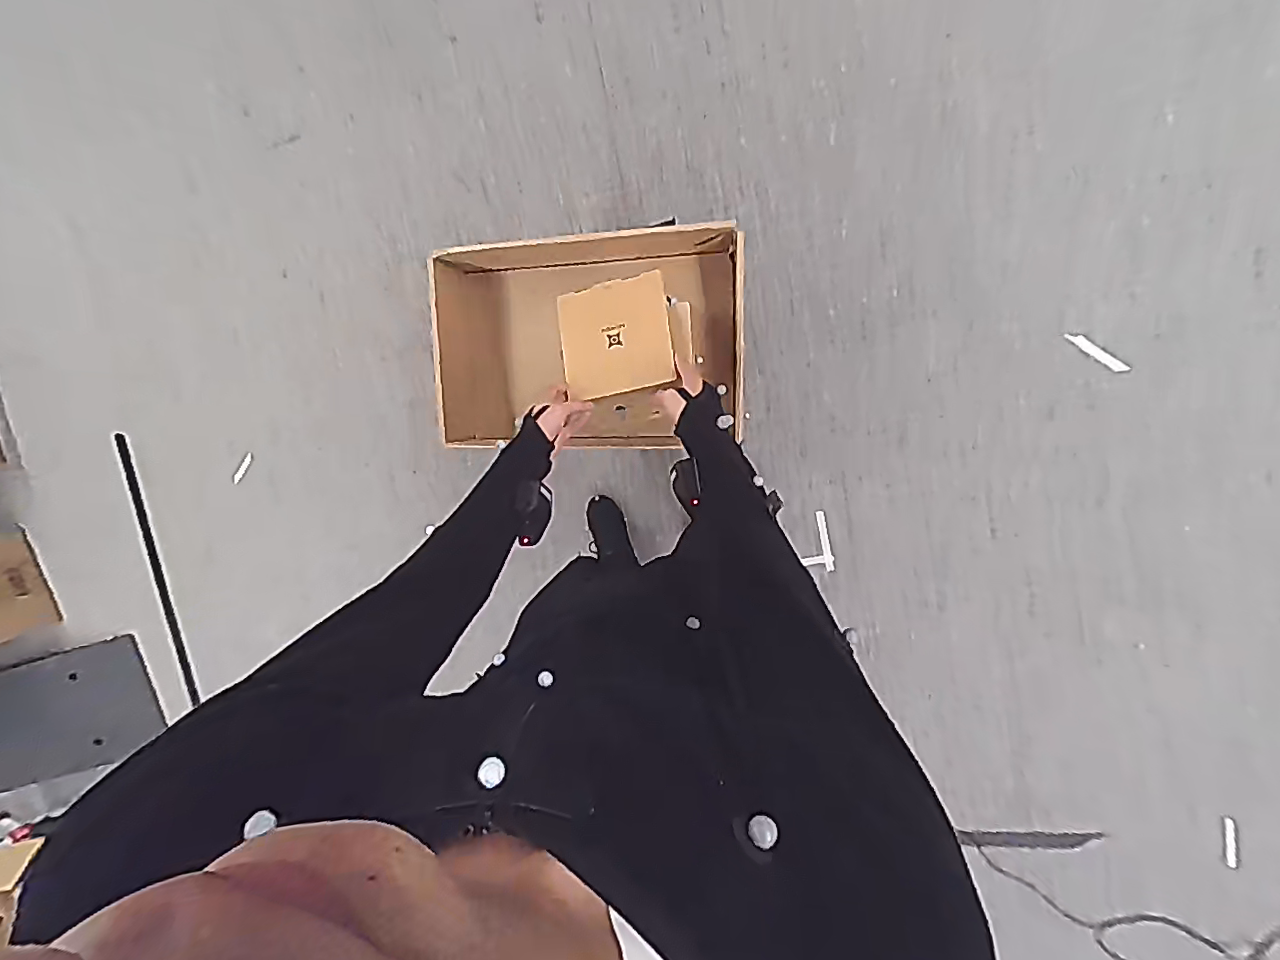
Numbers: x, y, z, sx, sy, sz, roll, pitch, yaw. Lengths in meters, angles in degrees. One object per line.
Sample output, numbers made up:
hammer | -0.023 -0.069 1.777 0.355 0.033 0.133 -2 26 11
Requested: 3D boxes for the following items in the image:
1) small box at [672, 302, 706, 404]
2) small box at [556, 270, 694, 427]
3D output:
small box | 0.034 -0.230 1.037 0.168 0.176 0.179 -2 96 13
small box | -0.017 -0.191 0.850 0.168 0.176 0.179 -11 78 13
